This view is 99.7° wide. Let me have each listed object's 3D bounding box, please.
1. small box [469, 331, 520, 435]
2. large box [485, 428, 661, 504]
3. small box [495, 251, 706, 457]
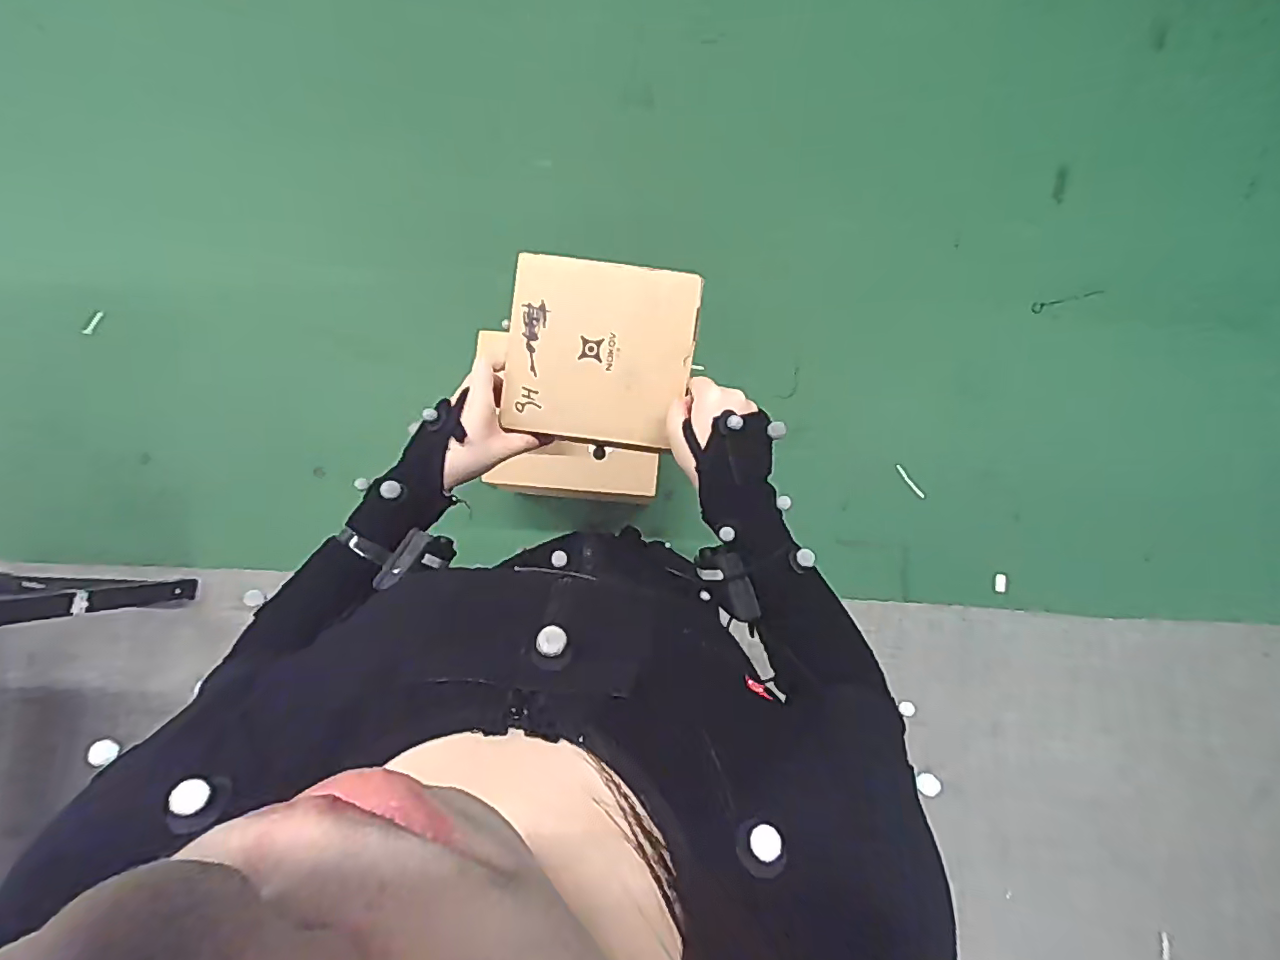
[{"bbox_3d":[-0.250,-0.196,1.152,0.168,0.176,0.179,5,83,-1],"label":"small box"},{"bbox_3d":[-0.151,-0.111,1.389,0.408,0.320,0.320,5,84,-1],"label":"large box"},{"bbox_3d":[-0.037,-0.118,0.572,0.179,0.176,0.168,8,91,0],"label":"small box"}]
